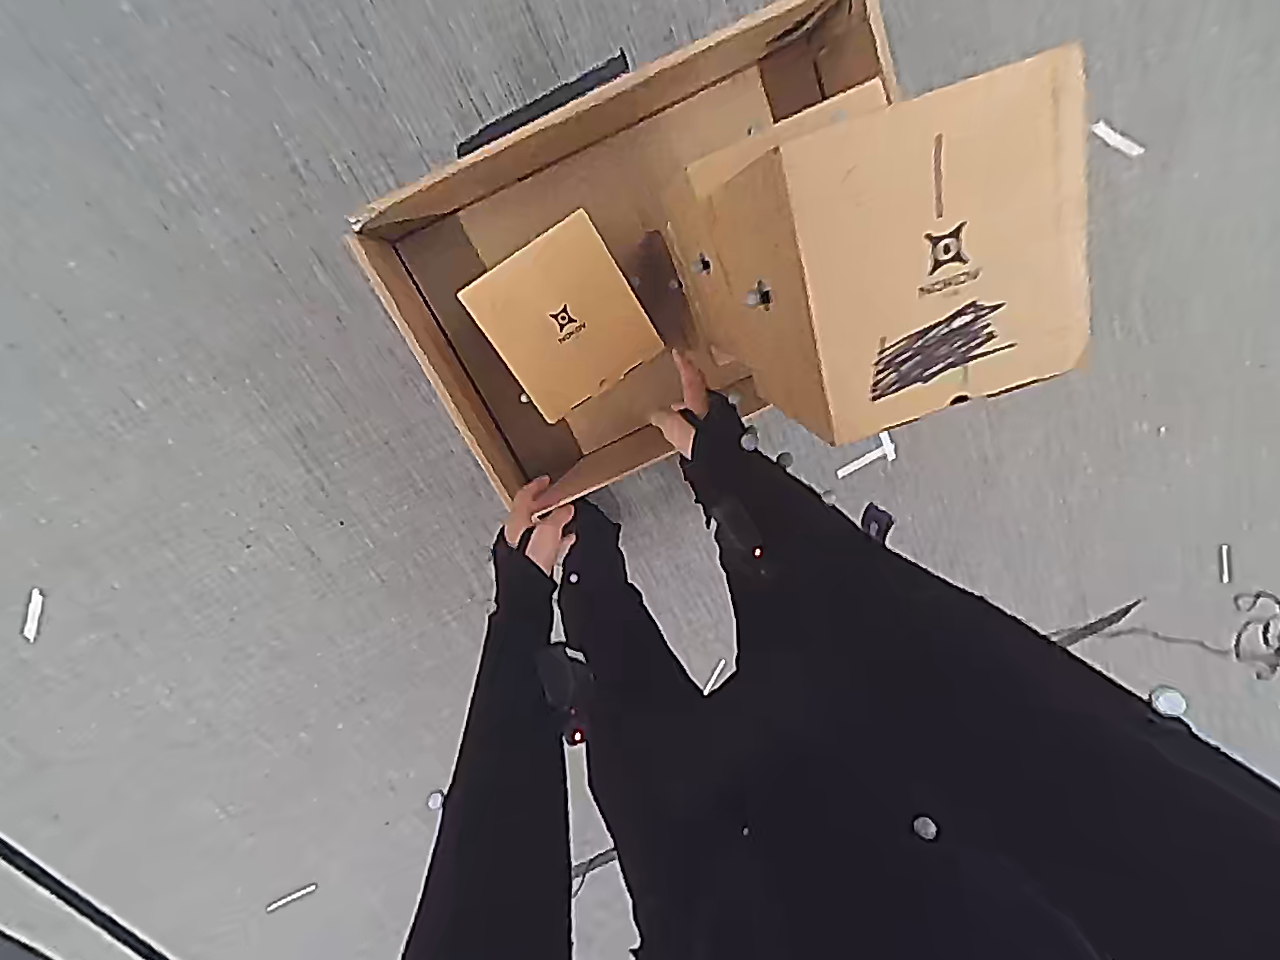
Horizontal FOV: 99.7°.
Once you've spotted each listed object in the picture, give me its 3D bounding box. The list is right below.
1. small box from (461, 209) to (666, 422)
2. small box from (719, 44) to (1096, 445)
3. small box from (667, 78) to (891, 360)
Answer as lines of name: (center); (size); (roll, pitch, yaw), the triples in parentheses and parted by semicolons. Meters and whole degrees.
small box: (-0.093, -0.200, 0.673); (0.168, 0.176, 0.179); (-34, 111, 3)
small box: (0.167, -0.148, 0.378); (0.168, 0.176, 0.179); (-18, 110, 1)
small box: (0.136, -0.232, 0.521); (0.168, 0.176, 0.179); (-23, 111, 3)
